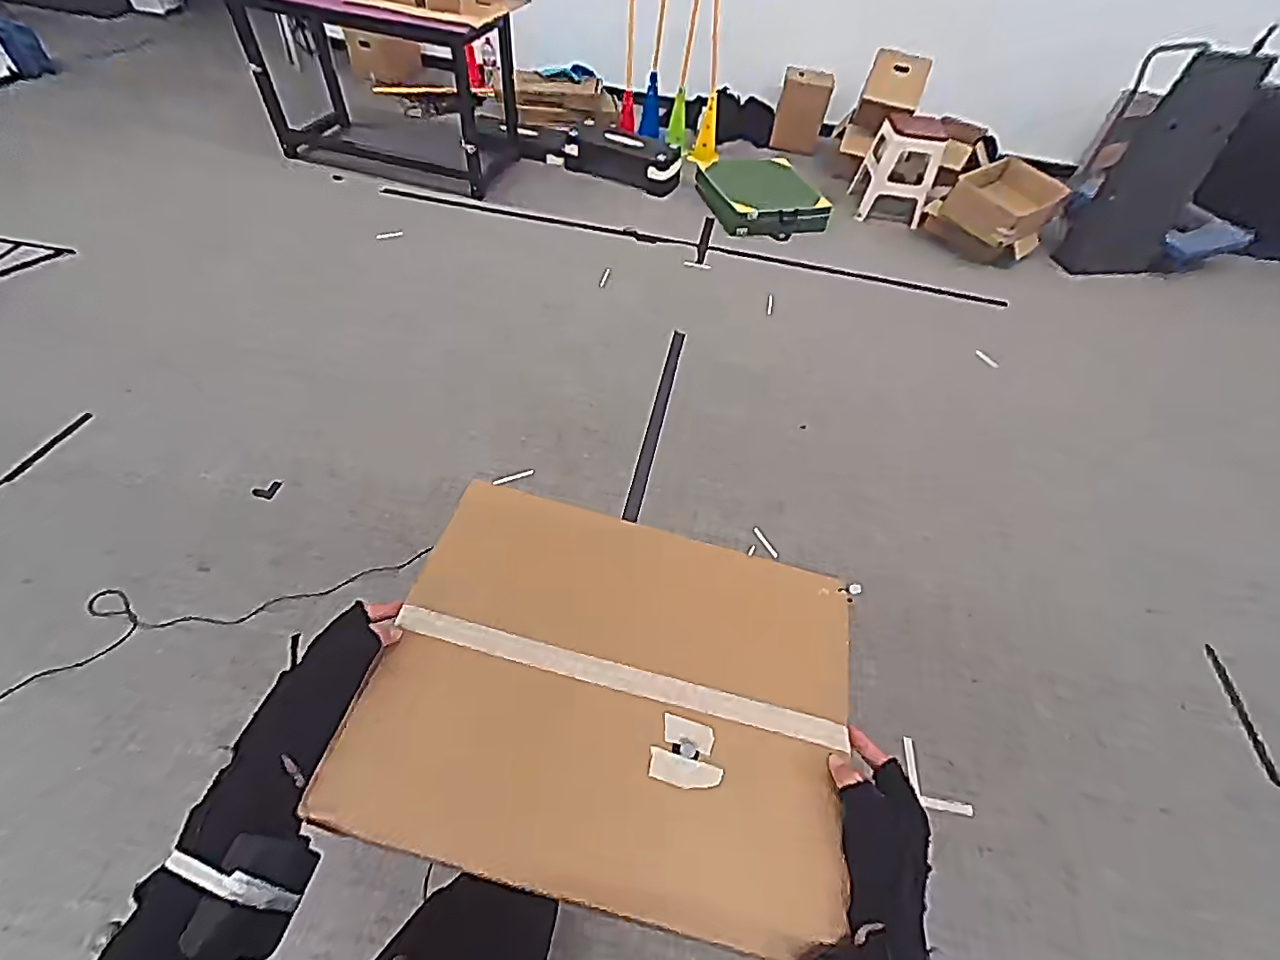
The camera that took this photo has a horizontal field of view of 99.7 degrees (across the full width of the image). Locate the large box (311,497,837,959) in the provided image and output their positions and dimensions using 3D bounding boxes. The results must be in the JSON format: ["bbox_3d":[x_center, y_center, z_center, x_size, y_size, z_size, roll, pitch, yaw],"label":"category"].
[{"bbox_3d":[-0.042,0.270,0.597,0.408,0.320,0.320,16,54,1],"label":"large box"}]
